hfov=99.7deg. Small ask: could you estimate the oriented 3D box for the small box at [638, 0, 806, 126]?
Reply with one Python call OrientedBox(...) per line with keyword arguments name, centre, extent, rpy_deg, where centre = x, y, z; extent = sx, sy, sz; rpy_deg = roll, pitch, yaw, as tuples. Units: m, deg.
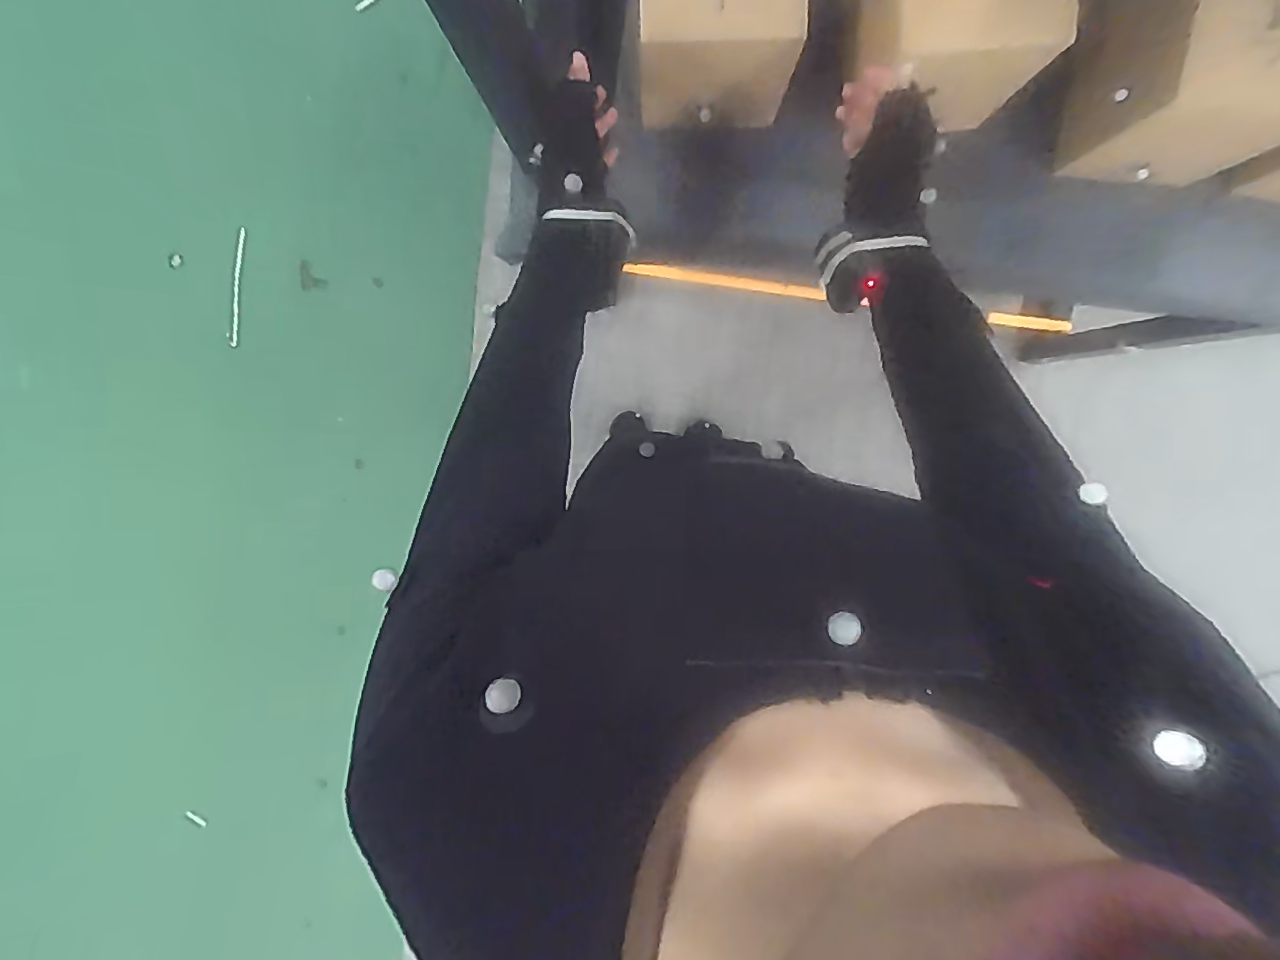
OrientedBox(name="small box", centre=(0.082, -0.529, 0.598), extent=(0.168, 0.176, 0.179), rpy_deg=(0, 98, 3))
